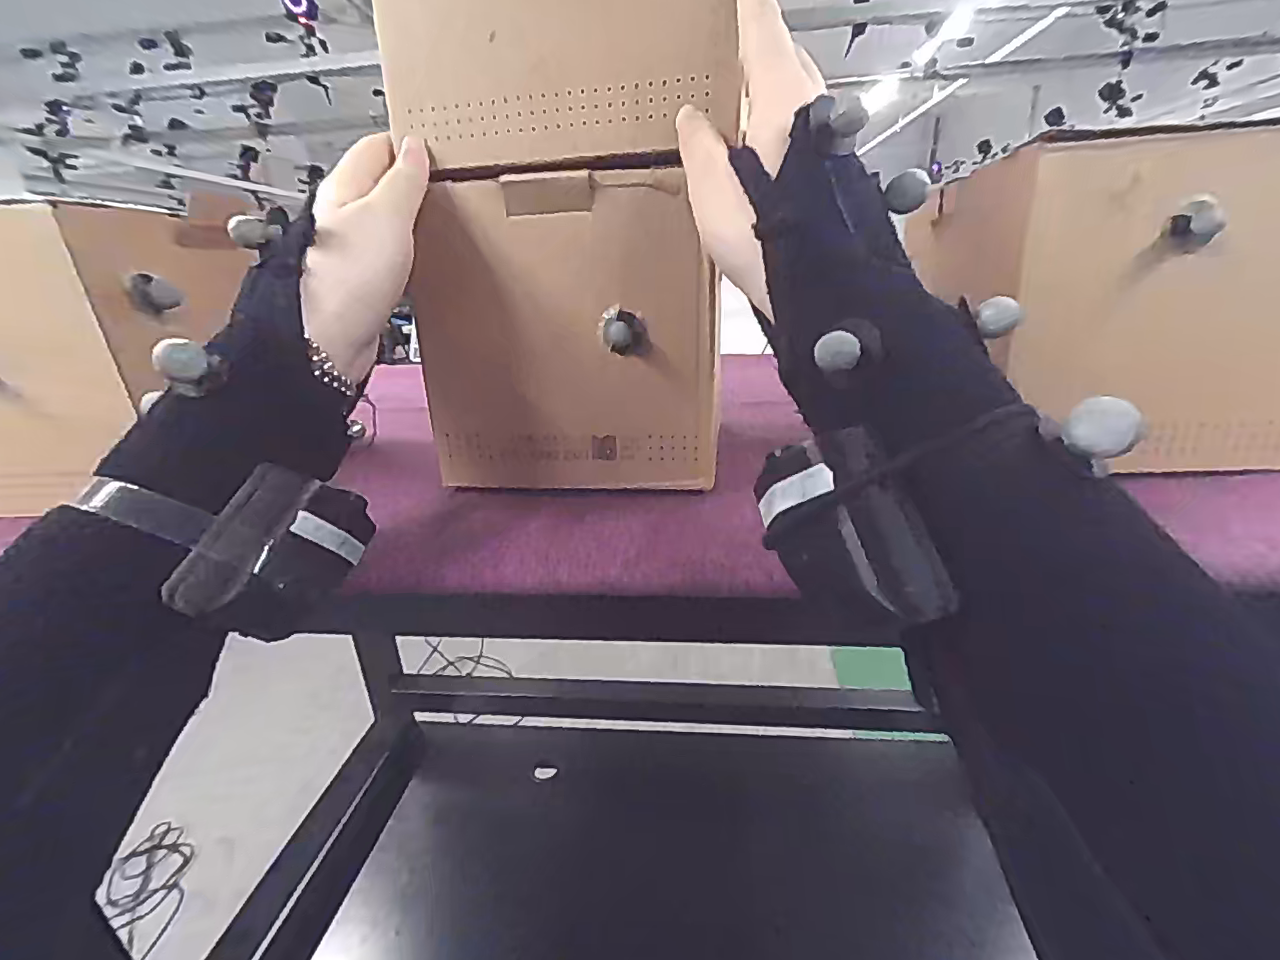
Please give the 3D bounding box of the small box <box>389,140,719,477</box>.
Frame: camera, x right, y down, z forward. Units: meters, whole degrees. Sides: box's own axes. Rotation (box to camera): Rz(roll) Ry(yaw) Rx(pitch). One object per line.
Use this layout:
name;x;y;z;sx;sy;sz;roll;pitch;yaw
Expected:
small box;-0.032;-0.104;0.363;0.168;0.176;0.179;1;18;8

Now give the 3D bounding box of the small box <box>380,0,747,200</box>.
small box;-0.030;-0.259;0.307;0.179;0.176;0.168;2;19;11

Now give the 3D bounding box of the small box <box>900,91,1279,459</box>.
small box;0.279;-0.113;0.338;0.179;0.176;0.168;-1;19;5
